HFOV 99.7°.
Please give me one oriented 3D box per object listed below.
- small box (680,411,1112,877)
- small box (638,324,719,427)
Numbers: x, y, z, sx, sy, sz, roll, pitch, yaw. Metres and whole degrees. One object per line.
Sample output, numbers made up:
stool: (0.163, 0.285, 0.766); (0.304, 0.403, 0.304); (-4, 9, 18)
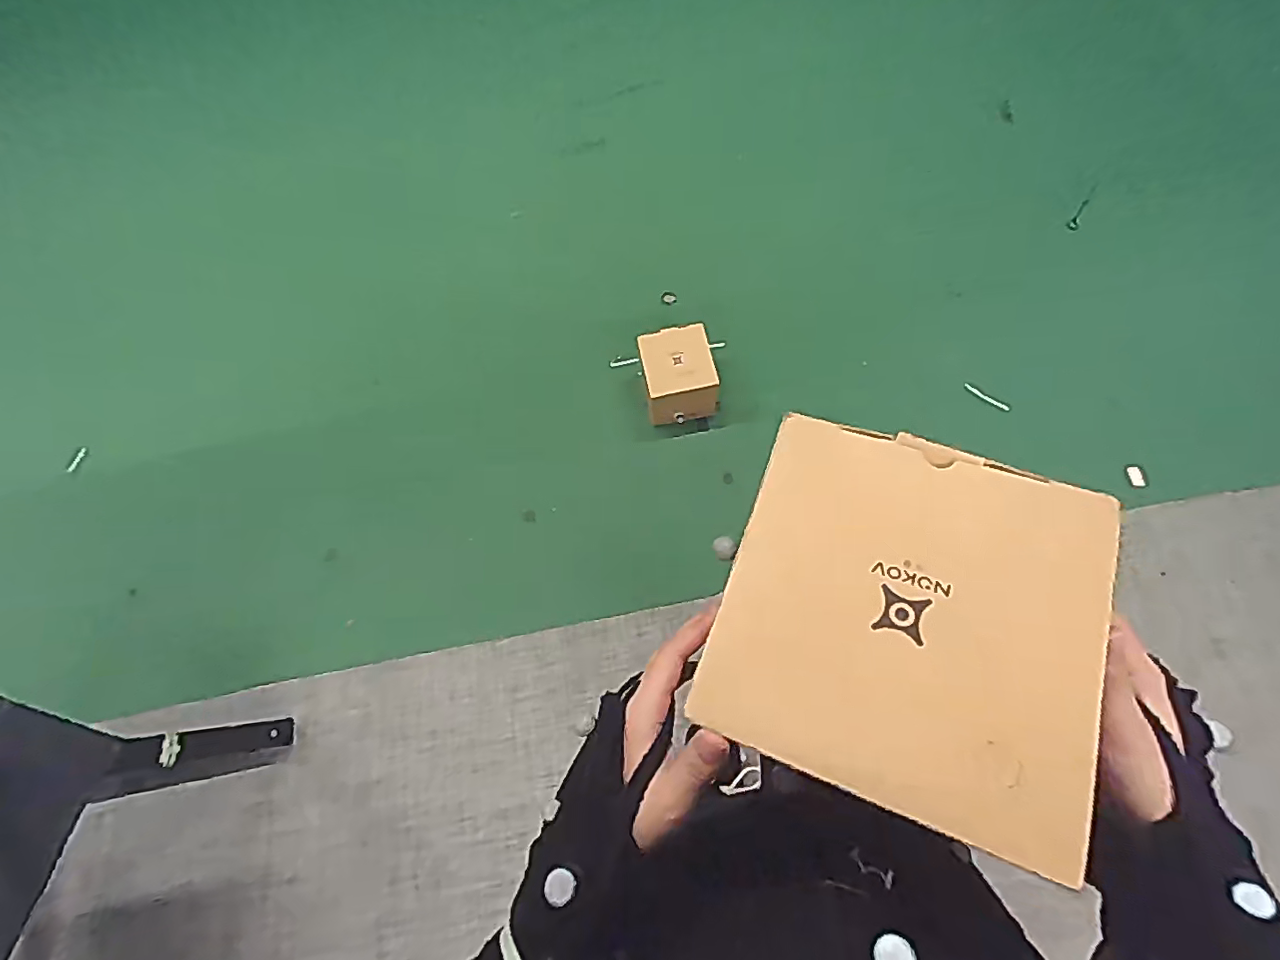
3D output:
small box: (0.136, 0.090, 0.332); (0.168, 0.176, 0.179); (18, 69, 16)
small box: (0.093, -0.257, 1.356); (0.168, 0.176, 0.179); (-12, 71, 0)
